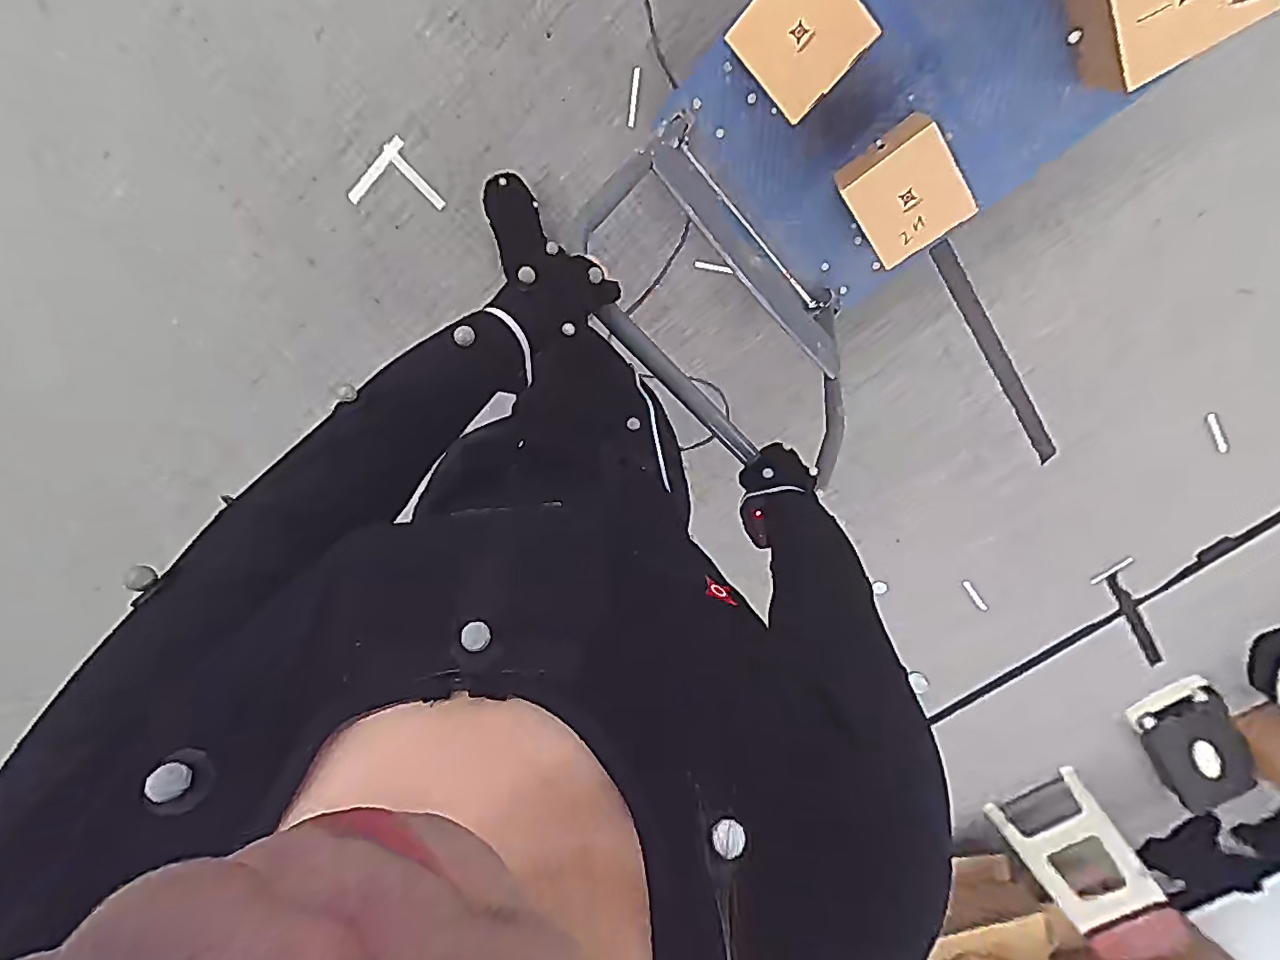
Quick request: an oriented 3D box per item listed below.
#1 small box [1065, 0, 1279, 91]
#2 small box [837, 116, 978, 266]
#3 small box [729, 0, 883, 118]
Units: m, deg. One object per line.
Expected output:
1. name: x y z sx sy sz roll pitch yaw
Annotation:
1. small box: 0.764 -0.712 0.786 0.179 0.176 0.168 -22 120 30
2. small box: 0.482 -0.537 0.998 0.168 0.176 0.179 -29 117 32
3. small box: 0.265 -0.741 0.889 0.179 0.176 0.168 39 127 -19
